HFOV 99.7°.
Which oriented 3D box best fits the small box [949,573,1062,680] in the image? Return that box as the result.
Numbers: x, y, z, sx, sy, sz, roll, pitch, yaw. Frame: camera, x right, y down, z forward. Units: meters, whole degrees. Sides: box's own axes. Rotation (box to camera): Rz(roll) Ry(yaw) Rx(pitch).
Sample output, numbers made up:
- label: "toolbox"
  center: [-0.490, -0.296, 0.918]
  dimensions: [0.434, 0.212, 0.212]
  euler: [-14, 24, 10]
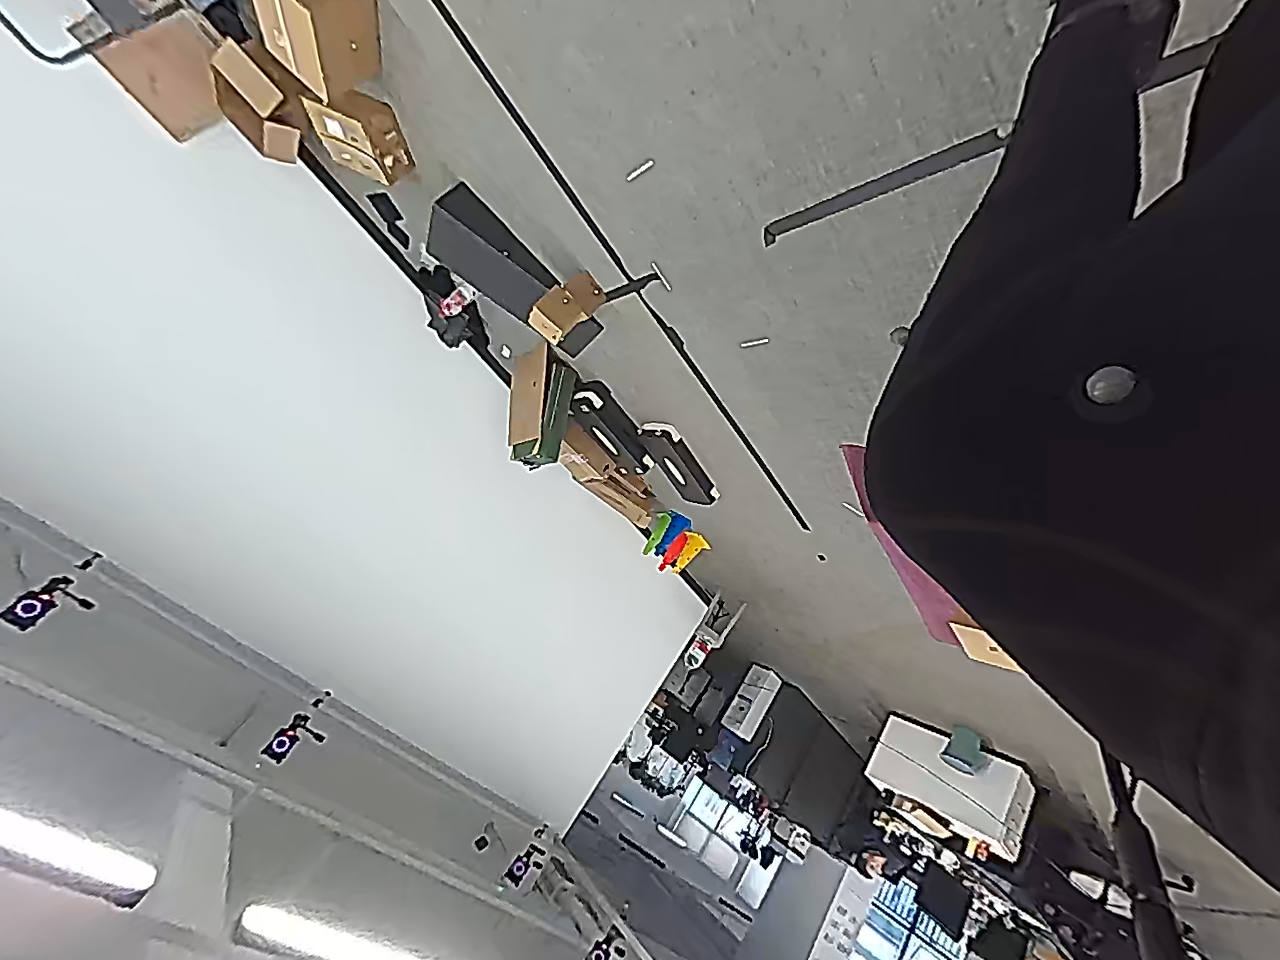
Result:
- label: "small box"
  center: [0.892, 0.346, 1.311]
  dimensions: [0.168, 0.176, 0.179]
  euler: [50, 156, -27]
